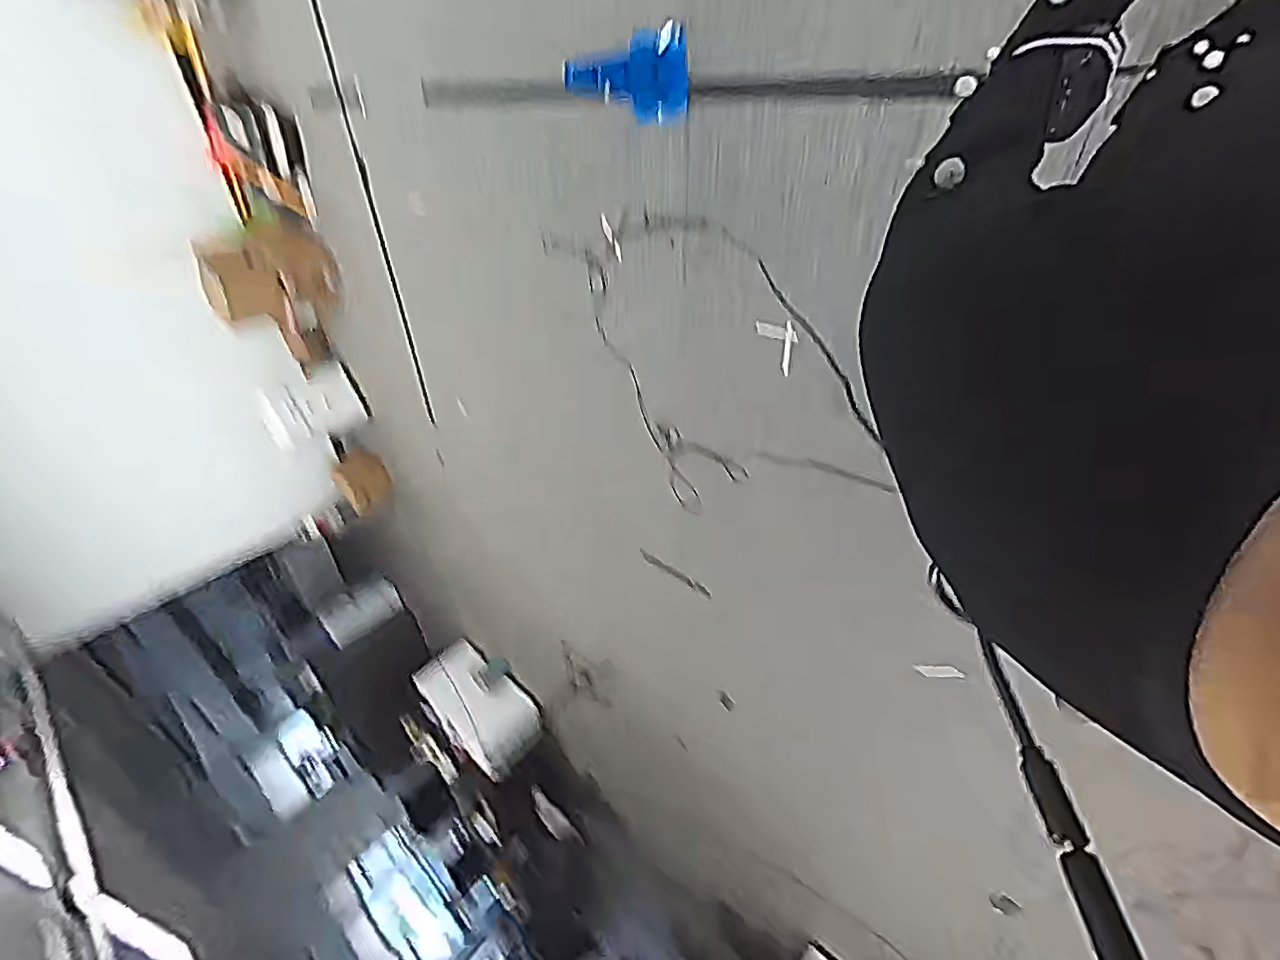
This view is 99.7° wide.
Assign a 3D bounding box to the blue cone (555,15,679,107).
[{"bbox_3d":[-0.071,-1.088,1.402,0.193,0.380,0.192,22,130,34],"label":"blue cone"}]
